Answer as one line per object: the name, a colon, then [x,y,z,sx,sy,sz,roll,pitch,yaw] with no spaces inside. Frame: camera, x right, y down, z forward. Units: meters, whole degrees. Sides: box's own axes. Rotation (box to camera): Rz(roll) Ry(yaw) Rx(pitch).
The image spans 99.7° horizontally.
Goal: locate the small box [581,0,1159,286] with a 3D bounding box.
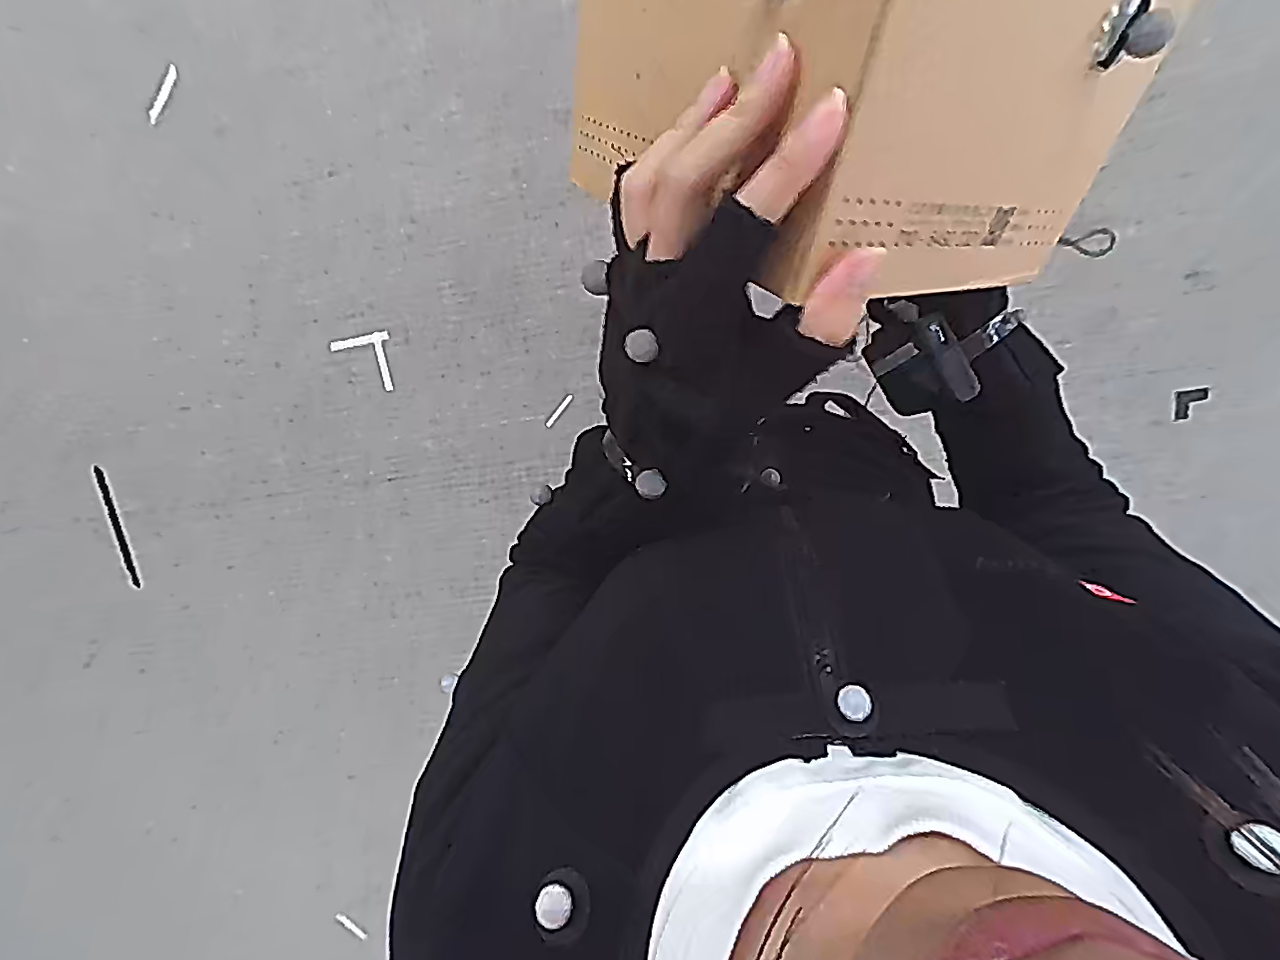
small box: [0.086,-0.190,0.230,0.168,0.179,0.176,-13,133,-28]
